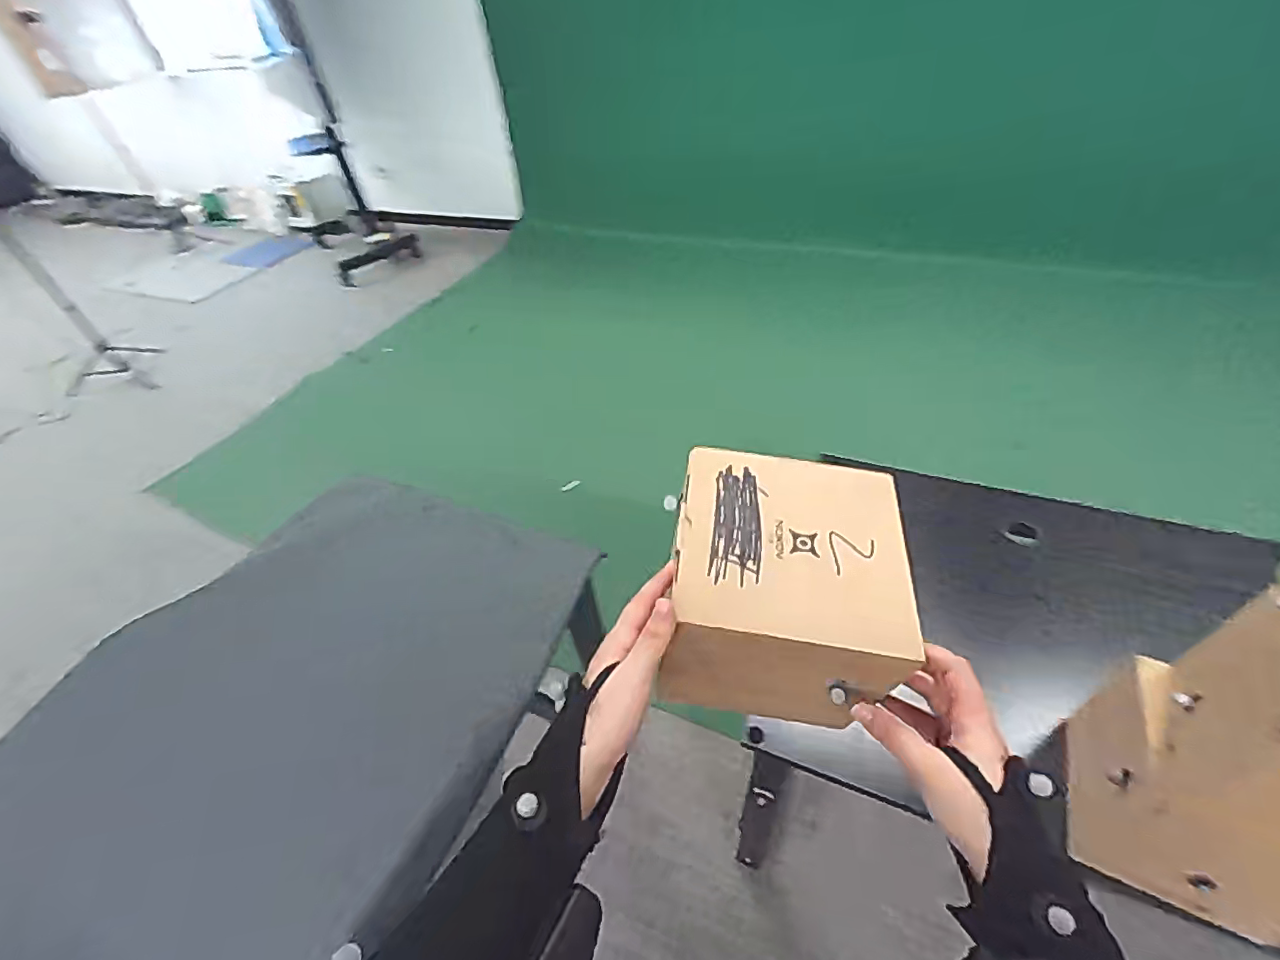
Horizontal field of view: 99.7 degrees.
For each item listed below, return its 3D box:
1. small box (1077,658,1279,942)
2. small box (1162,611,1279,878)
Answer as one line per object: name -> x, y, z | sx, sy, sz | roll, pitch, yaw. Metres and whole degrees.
small box -> 0.583, 0.325, 0.553 | 0.168, 0.176, 0.179 | 17, 49, 23
small box -> 0.571, 0.225, 0.423 | 0.179, 0.176, 0.168 | 24, 52, 28
